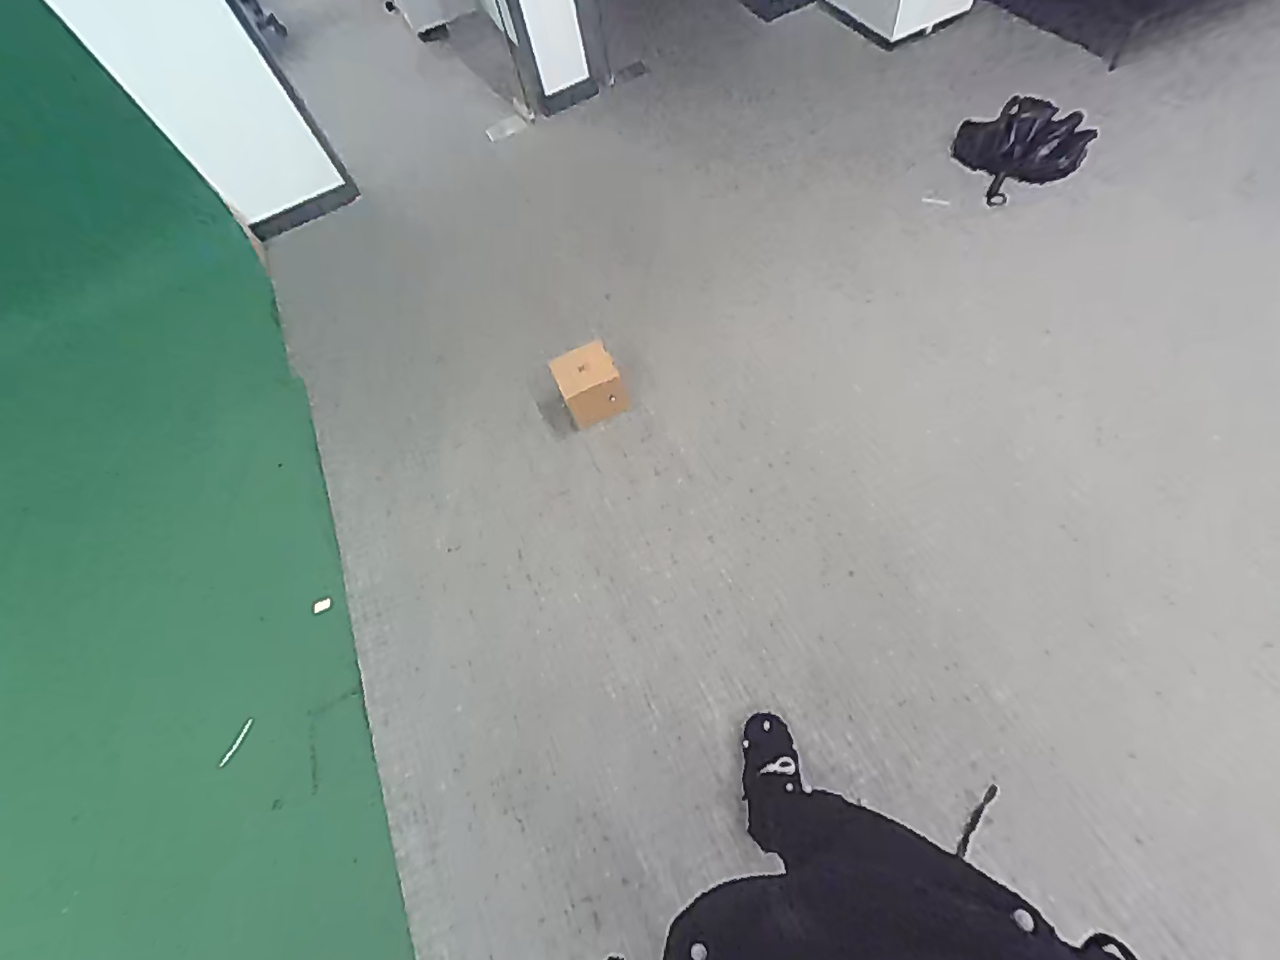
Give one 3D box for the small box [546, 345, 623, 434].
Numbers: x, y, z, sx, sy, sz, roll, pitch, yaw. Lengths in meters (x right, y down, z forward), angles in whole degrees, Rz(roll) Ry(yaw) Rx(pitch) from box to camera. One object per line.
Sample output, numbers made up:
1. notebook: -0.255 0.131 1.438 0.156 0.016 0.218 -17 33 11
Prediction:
1. small box: -0.163 -0.275 1.664 0.179 0.176 0.168 -27 61 -3
